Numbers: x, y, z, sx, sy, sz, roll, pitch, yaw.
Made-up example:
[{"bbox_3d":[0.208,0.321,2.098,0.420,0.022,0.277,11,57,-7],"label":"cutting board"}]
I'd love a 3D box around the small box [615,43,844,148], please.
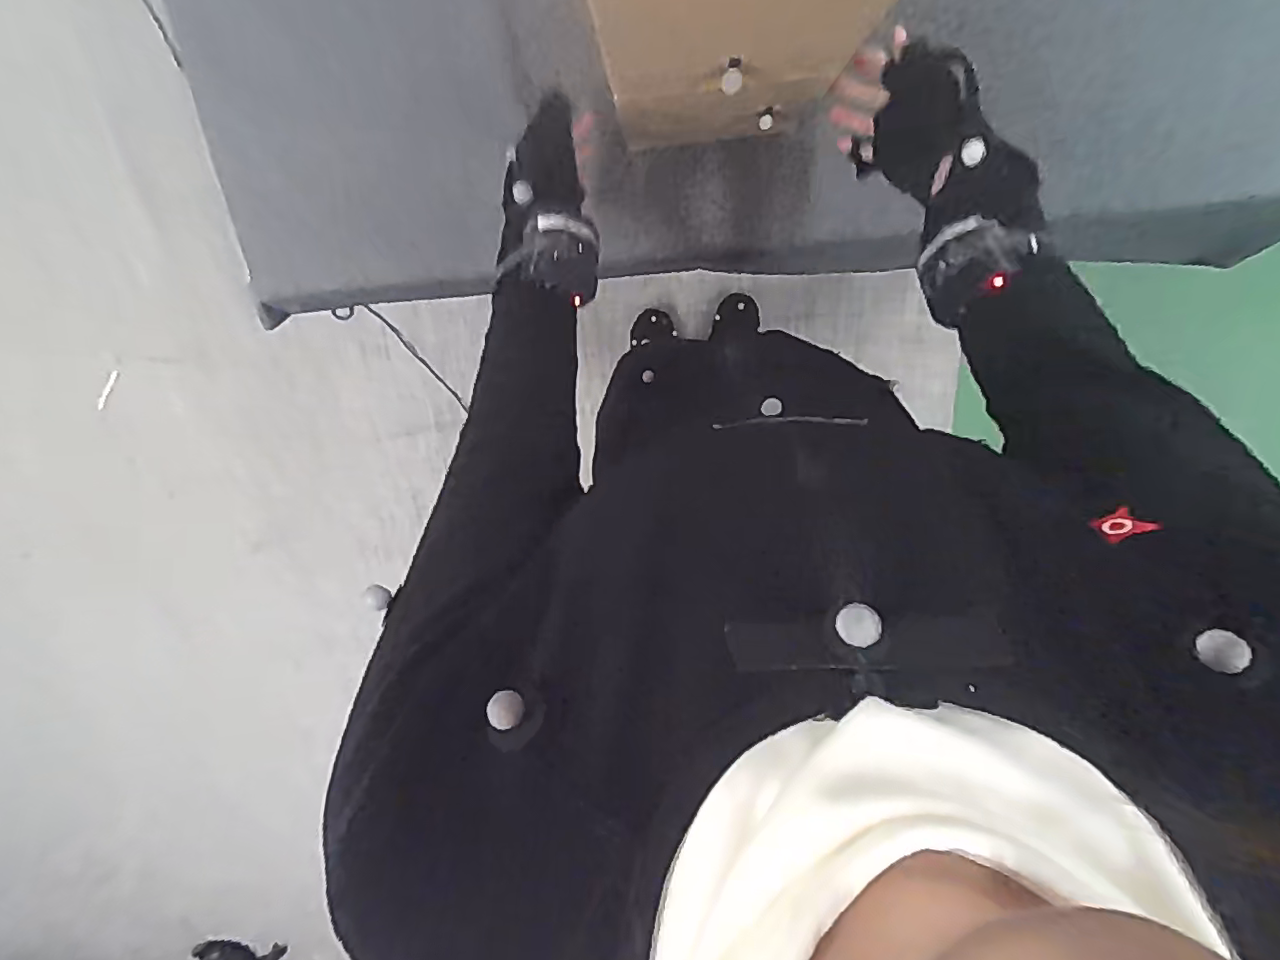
[{"bbox_3d":[0.065,-0.409,0.467,0.179,0.176,0.168,-5,108,7],"label":"small box"}]

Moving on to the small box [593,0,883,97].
[{"bbox_3d":[0.055,-0.356,0.316,0.179,0.176,0.168,-7,110,6],"label":"small box"}]
